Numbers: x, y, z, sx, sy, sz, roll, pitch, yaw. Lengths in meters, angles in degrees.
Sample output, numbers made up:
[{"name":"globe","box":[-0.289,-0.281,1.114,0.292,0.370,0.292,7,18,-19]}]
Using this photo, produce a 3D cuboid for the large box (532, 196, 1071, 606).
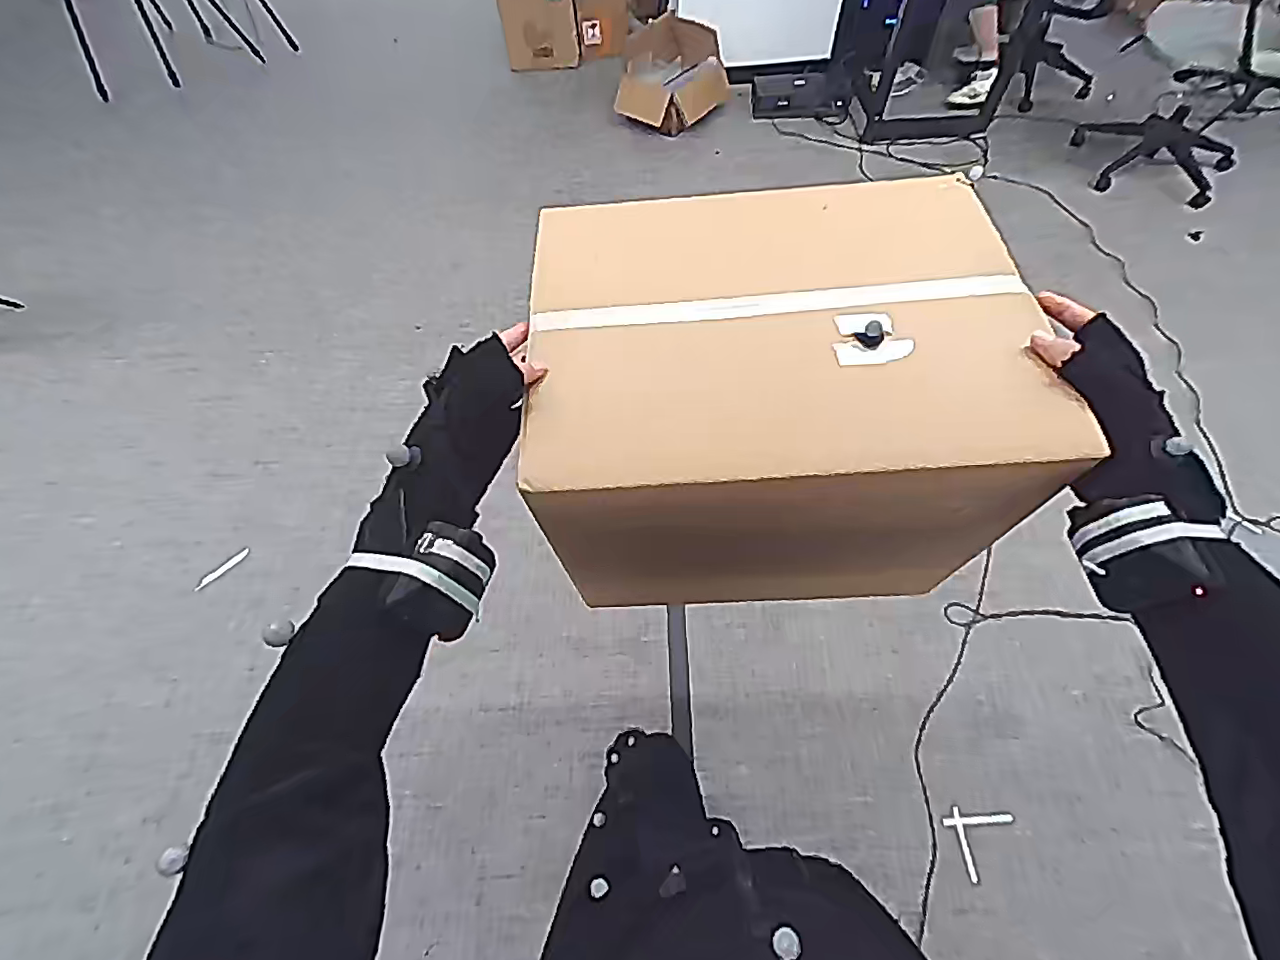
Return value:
[{"name":"large box","box":[0.117,-0.063,0.596,0.408,0.320,0.320,-3,62,2]}]
